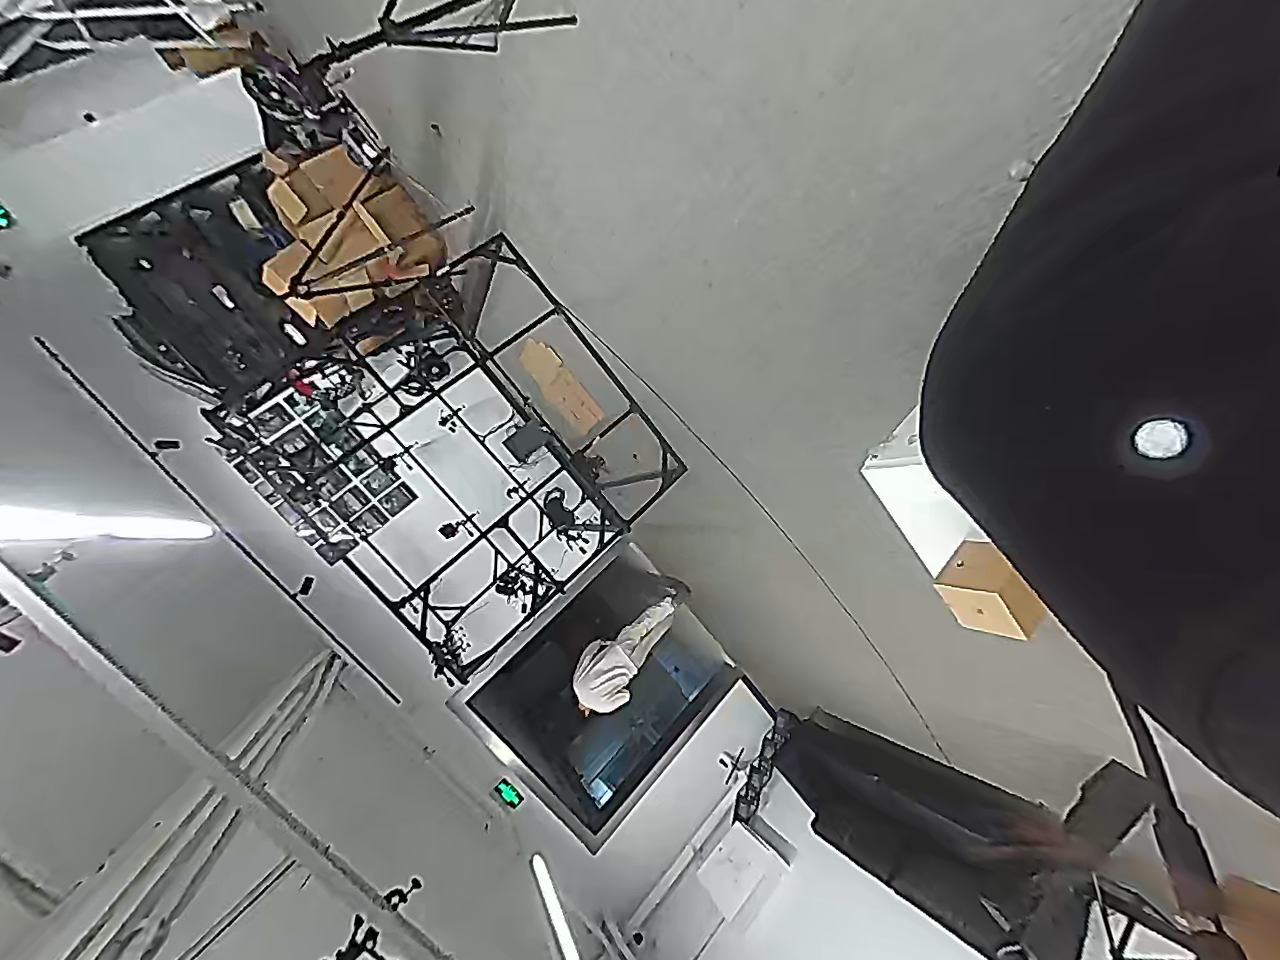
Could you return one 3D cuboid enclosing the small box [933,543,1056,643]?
[{"bbox_3d":[0.899,0.277,1.374,0.168,0.176,0.179,52,161,-13],"label":"small box"}]
